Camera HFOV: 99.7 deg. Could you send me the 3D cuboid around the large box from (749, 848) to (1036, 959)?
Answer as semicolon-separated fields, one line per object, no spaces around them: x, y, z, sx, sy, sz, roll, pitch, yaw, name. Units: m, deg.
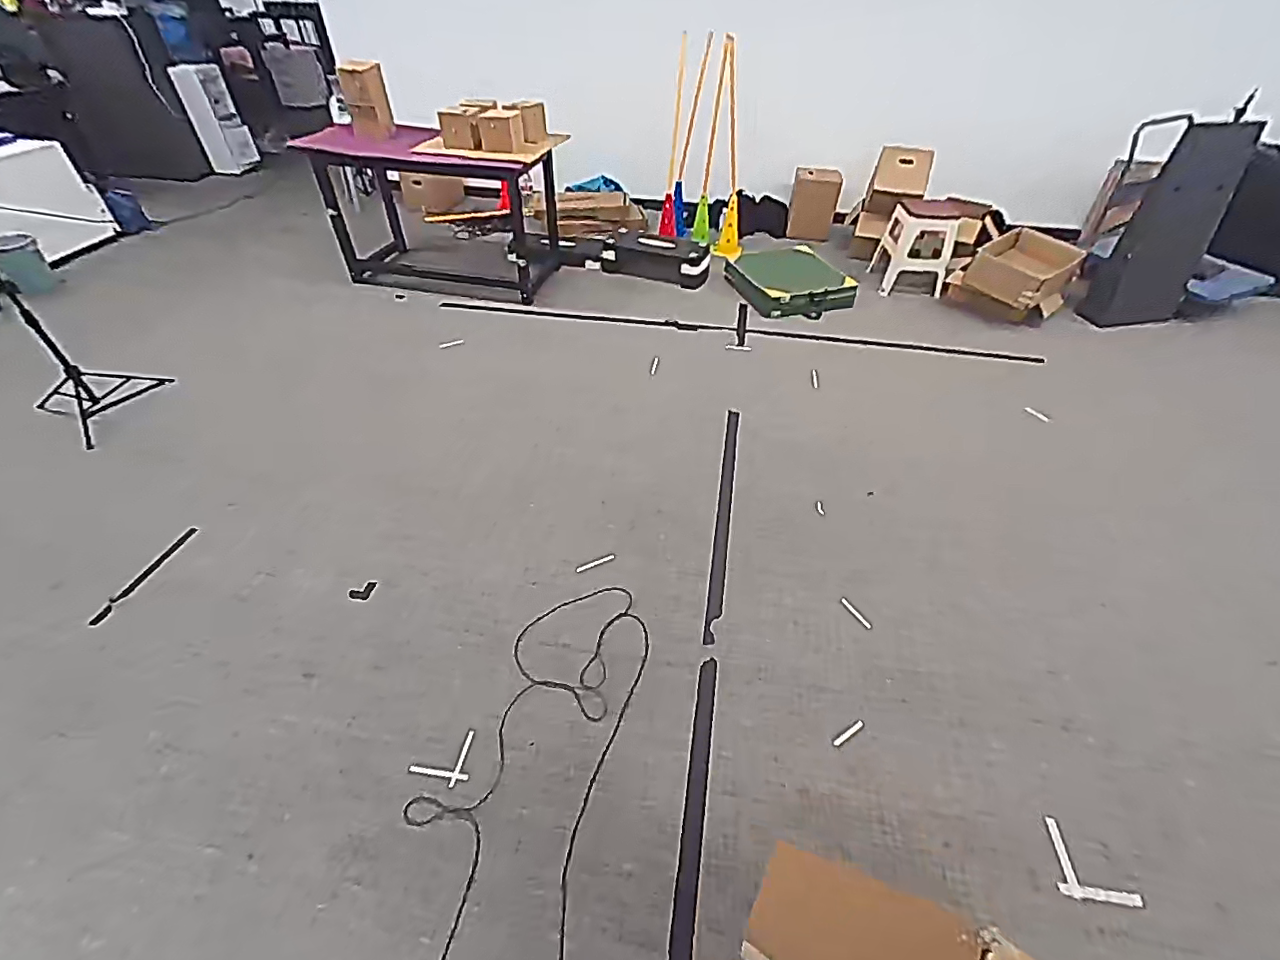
0.360;0.739;0.667;0.320;0.408;0.320;35;63;-3;large box
